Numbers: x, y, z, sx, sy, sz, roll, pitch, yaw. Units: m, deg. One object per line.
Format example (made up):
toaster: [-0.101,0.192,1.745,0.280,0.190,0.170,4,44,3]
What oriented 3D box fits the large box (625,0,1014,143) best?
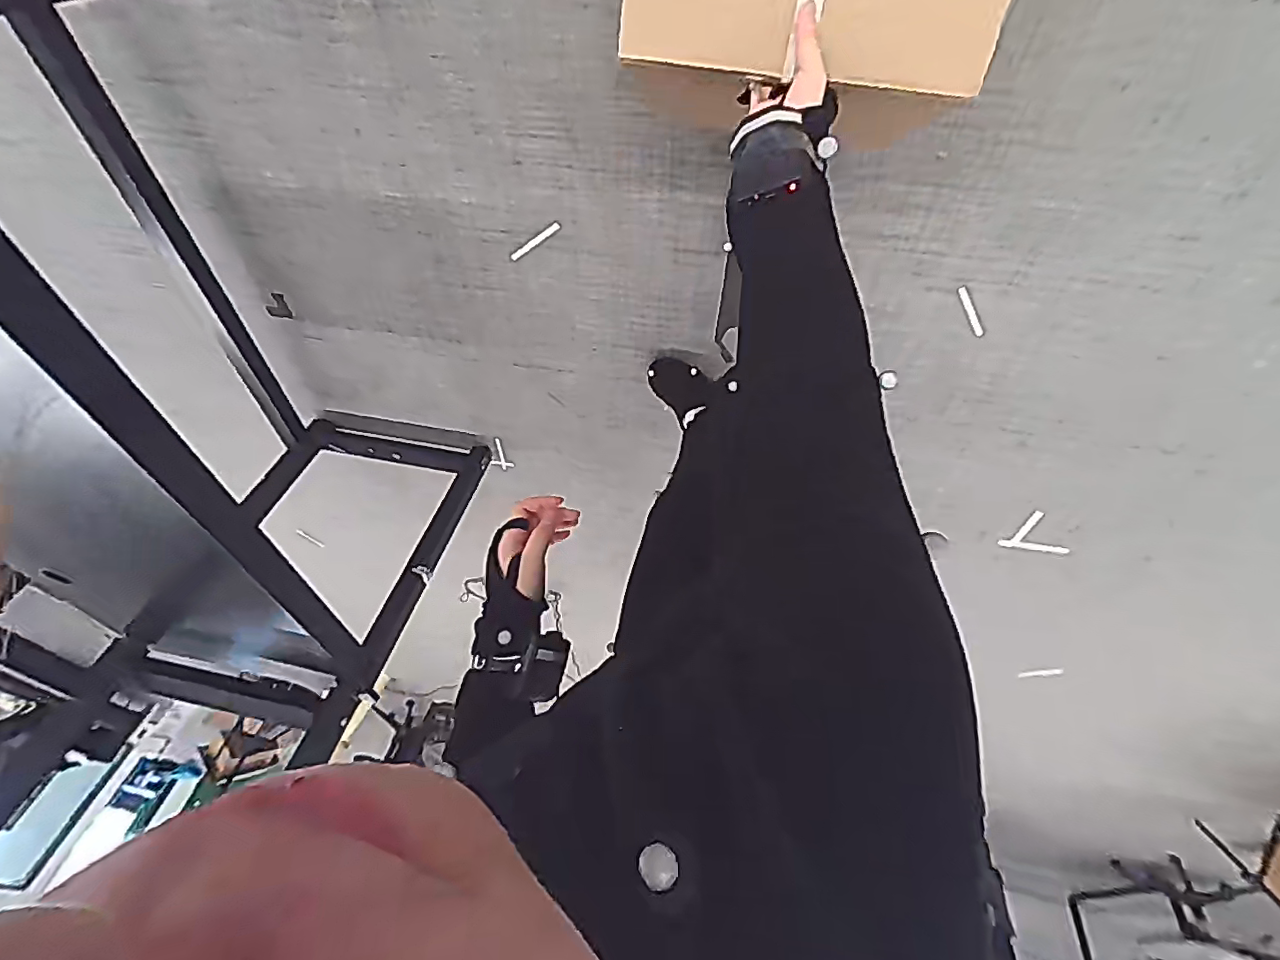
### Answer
large box: [0.184,-0.588,0.513,0.320,0.320,0.408,11,114,5]
